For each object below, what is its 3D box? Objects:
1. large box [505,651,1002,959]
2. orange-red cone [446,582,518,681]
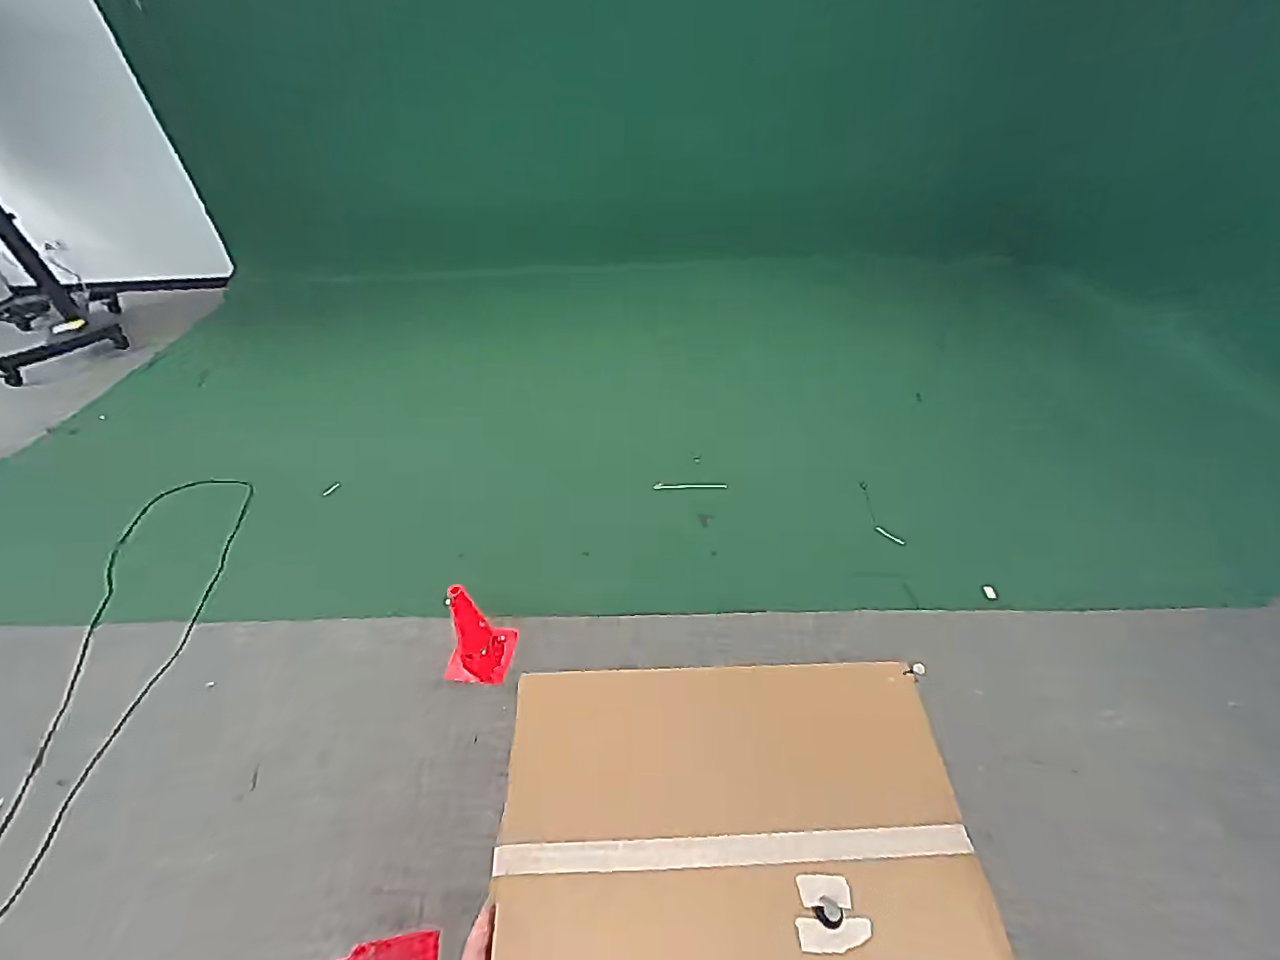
[{"bbox_3d":[0.083,0.403,0.598,0.408,0.320,0.320,-1,53,-2],"label":"large box"},{"bbox_3d":[-0.533,0.444,1.685,0.199,0.360,0.198,3,42,9],"label":"orange-red cone"}]
